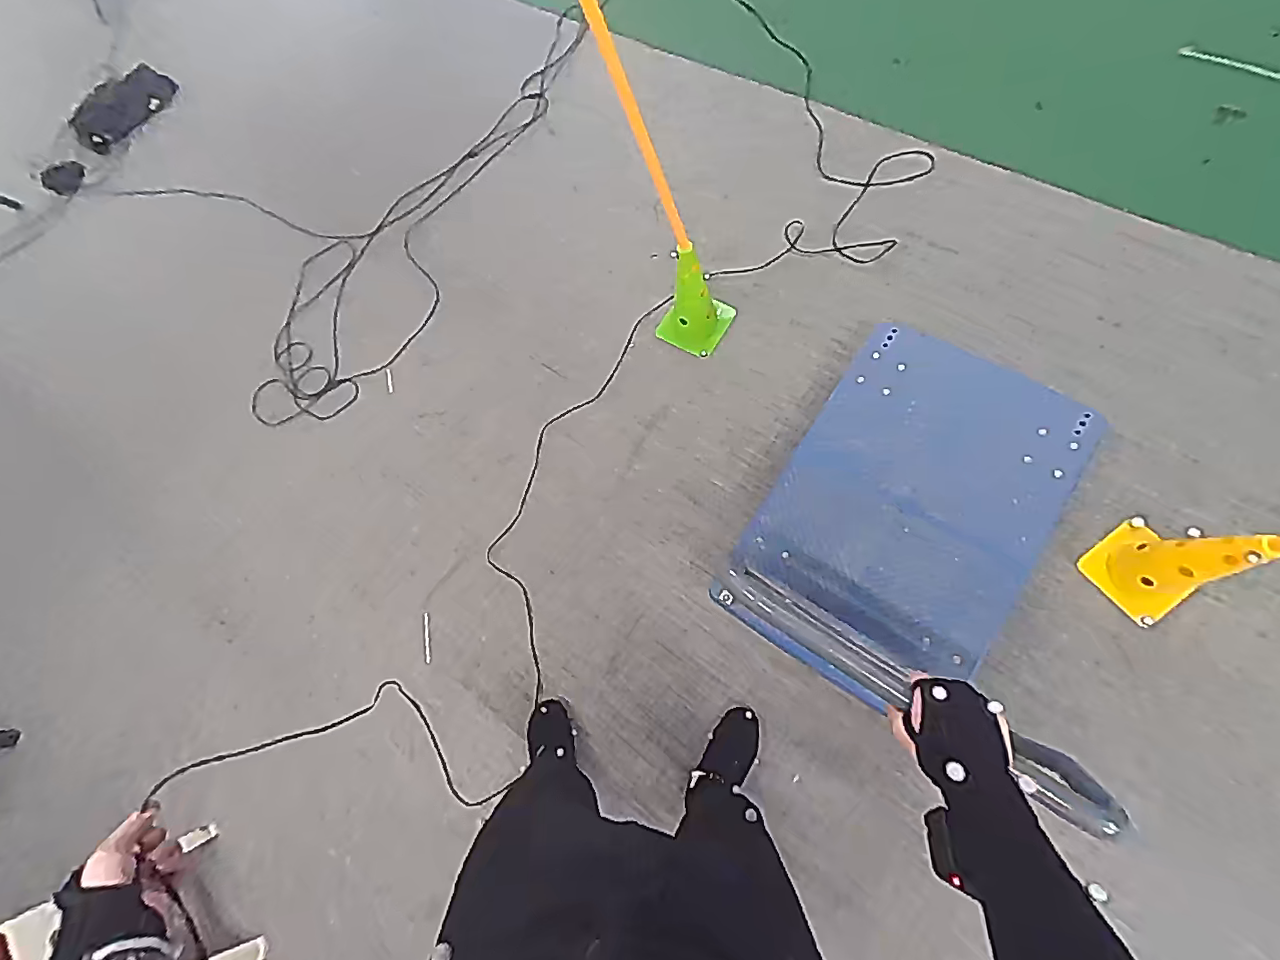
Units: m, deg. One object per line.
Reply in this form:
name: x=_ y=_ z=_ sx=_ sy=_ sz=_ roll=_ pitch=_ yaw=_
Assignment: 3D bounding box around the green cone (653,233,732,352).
green cone: x=0.133 y=-0.565 z=1.553 sx=0.202 sy=0.368 sz=0.200 roll=29 pitch=80 yaw=19
